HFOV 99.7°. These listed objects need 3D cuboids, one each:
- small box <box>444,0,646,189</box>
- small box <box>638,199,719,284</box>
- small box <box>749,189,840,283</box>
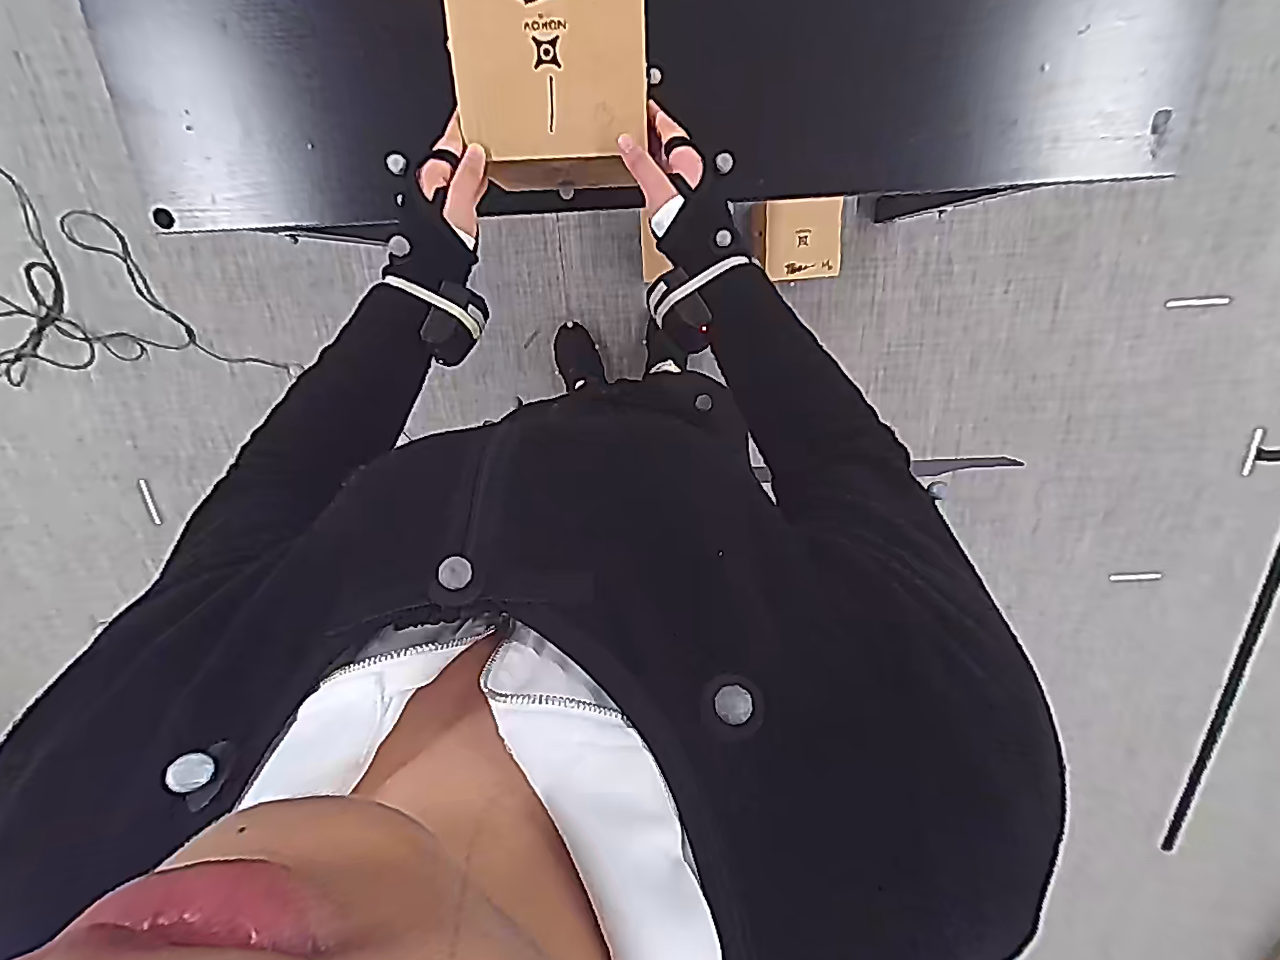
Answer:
[{"bbox_3d":[-0.080,-0.397,0.527,0.168,0.176,0.179,-2,110,1],"label":"small box"},{"bbox_3d":[0.085,-0.546,1.251,0.179,0.176,0.168,-3,109,2],"label":"small box"},{"bbox_3d":[0.348,-0.554,1.245,0.168,0.176,0.179,-4,110,2],"label":"small box"}]
